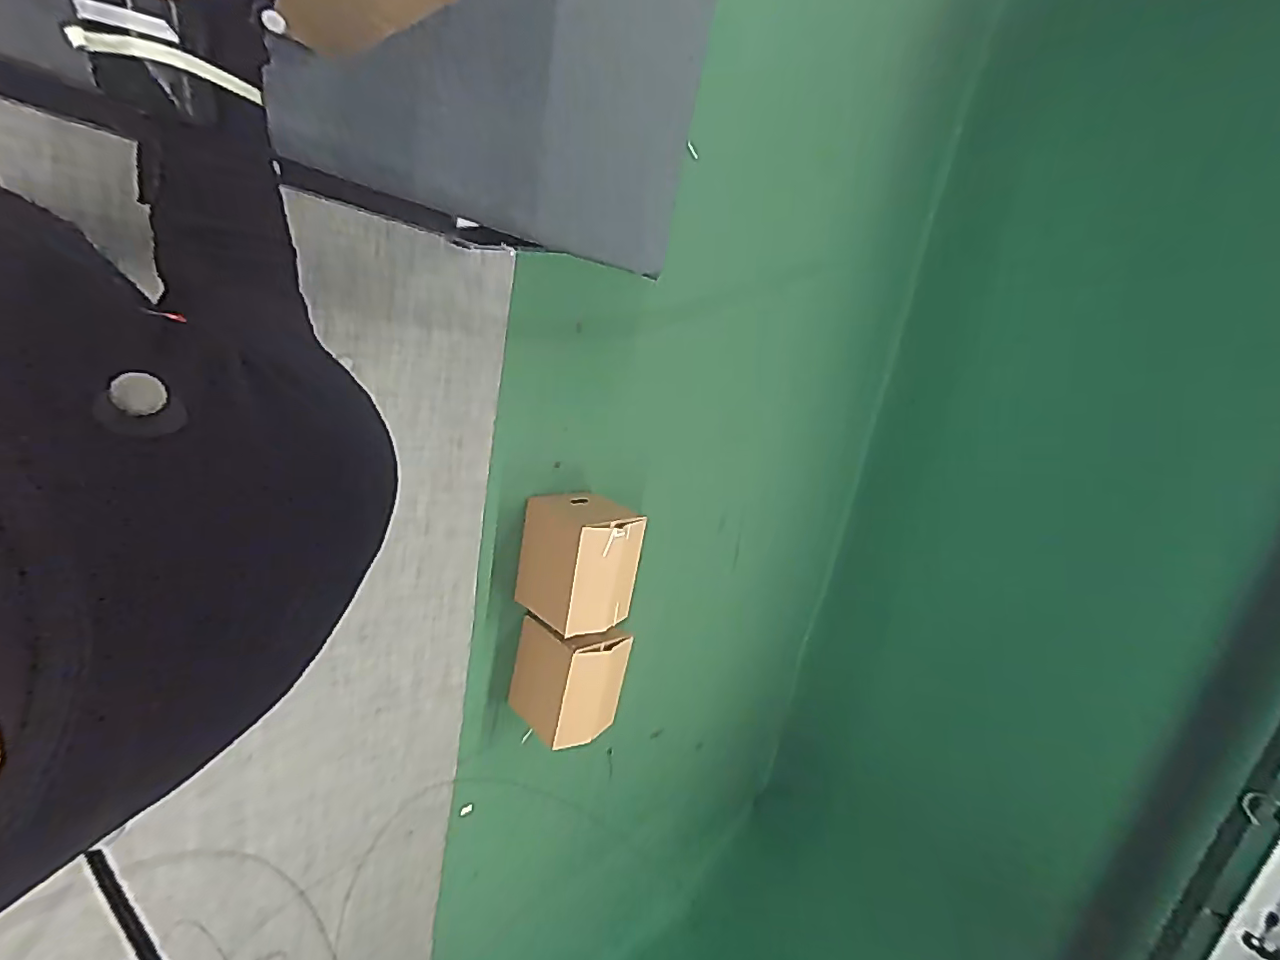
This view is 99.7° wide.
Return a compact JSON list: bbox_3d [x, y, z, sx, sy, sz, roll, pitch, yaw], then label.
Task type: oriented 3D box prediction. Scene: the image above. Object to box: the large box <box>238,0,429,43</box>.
[{"bbox_3d":[-0.289,-0.604,0.337,0.320,0.320,0.408,-7,112,-48],"label":"large box"}]
